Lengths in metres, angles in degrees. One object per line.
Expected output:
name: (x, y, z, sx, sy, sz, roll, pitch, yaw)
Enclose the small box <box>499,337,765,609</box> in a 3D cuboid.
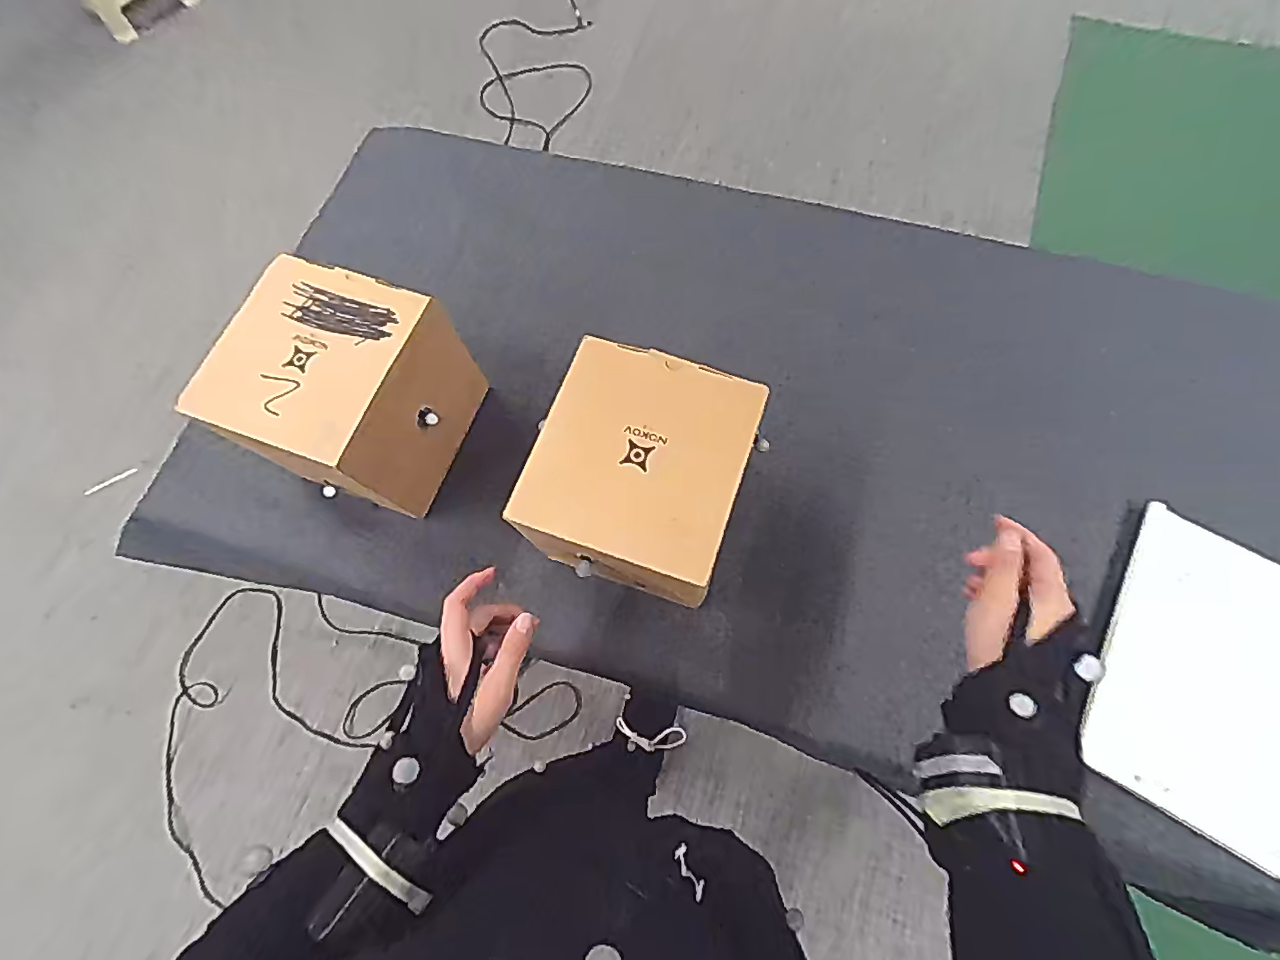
small box: (0.002, 0.006, 0.495, 0.168, 0.176, 0.179, 18, 71, 10)
